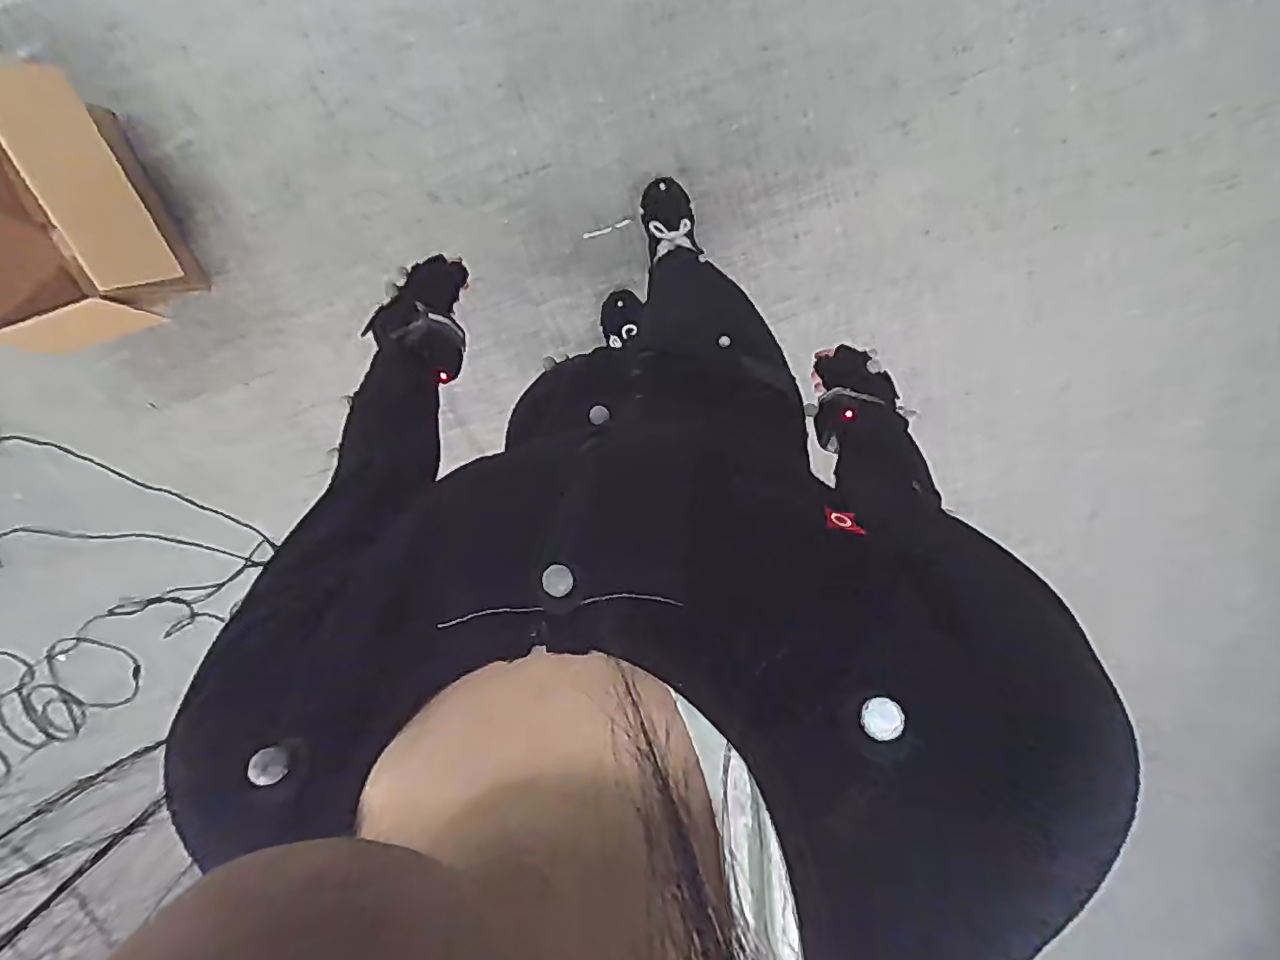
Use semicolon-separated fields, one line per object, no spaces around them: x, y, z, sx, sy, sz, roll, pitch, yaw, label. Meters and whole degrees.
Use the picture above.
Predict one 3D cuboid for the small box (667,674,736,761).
0.190;0.751;1.720;0.179;0.176;0.168;-18;109;6;small box
